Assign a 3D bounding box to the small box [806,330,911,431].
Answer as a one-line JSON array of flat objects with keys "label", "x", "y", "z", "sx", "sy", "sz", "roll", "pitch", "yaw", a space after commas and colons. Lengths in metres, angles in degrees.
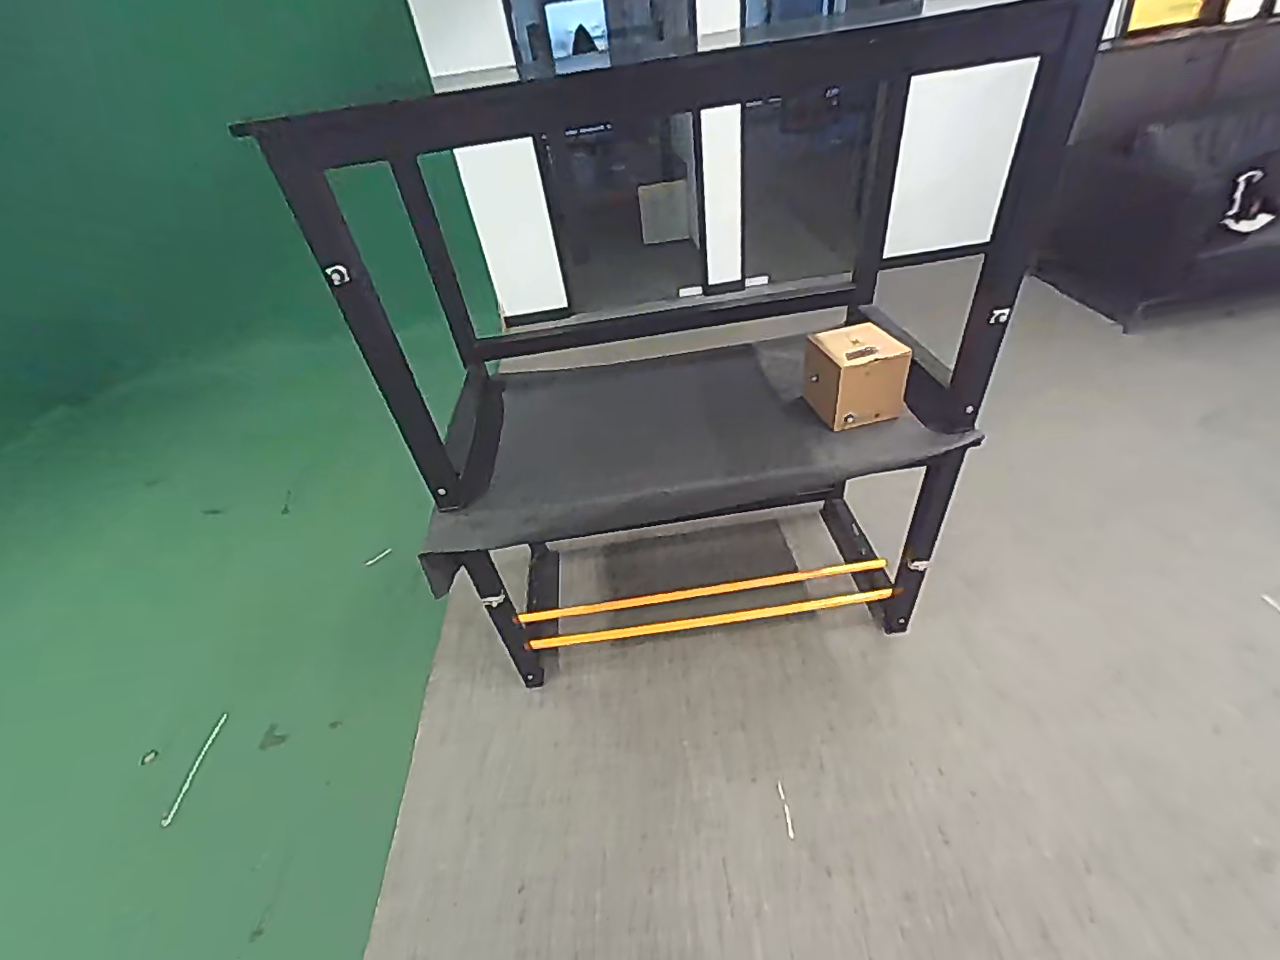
[{"label": "small box", "x": 0.506, "y": -0.229, "z": 1.277, "sx": 0.168, "sy": 0.176, "sz": 0.179, "roll": -13, "pitch": 38, "yaw": -4}]
